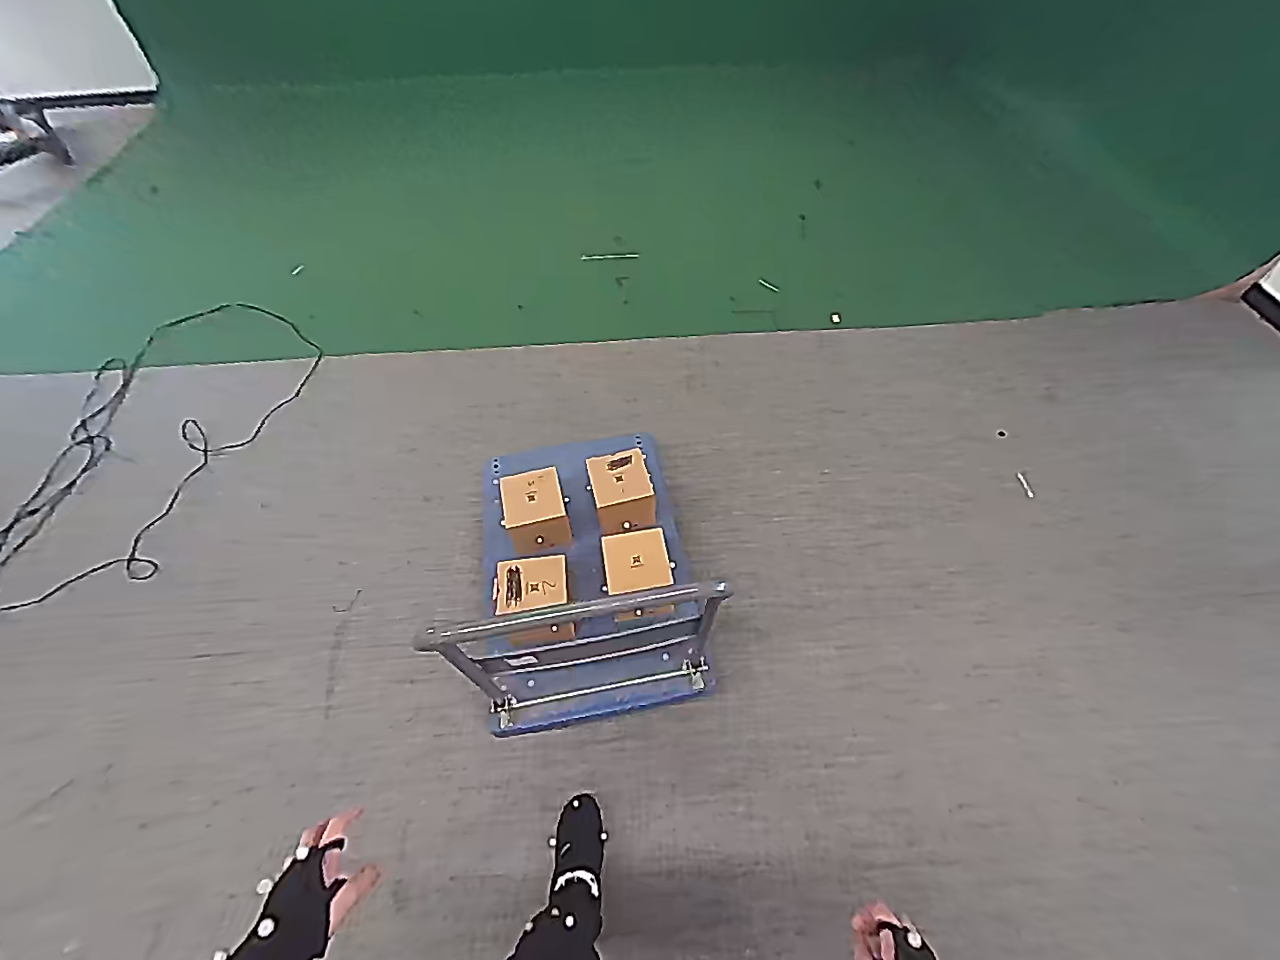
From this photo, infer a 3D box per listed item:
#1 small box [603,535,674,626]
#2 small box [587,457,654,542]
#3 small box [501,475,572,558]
[{"bbox_3d":[-0.008,0.275,1.468,0.168,0.176,0.179,-9,55,-5],"label":"small box"},{"bbox_3d":[-0.059,0.059,1.623,0.168,0.176,0.179,-13,56,-6],"label":"small box"},{"bbox_3d":[-0.302,0.115,1.591,0.168,0.176,0.179,-12,55,-8],"label":"small box"}]
